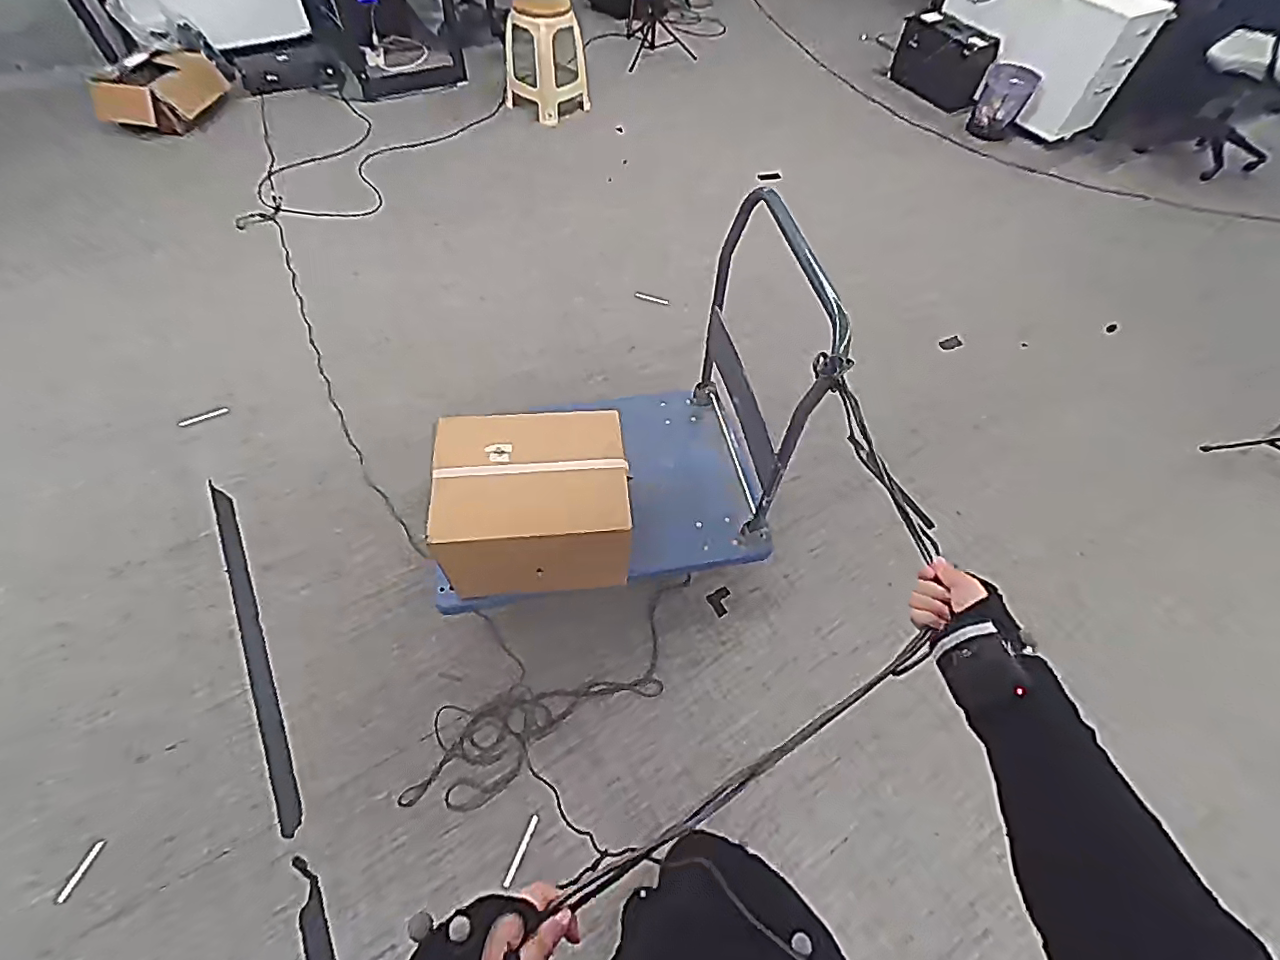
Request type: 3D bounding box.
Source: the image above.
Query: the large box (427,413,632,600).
[{"bbox_3d":[-0.239,0.069,1.263,0.408,0.320,0.320,-4,58,-6],"label":"large box"}]
